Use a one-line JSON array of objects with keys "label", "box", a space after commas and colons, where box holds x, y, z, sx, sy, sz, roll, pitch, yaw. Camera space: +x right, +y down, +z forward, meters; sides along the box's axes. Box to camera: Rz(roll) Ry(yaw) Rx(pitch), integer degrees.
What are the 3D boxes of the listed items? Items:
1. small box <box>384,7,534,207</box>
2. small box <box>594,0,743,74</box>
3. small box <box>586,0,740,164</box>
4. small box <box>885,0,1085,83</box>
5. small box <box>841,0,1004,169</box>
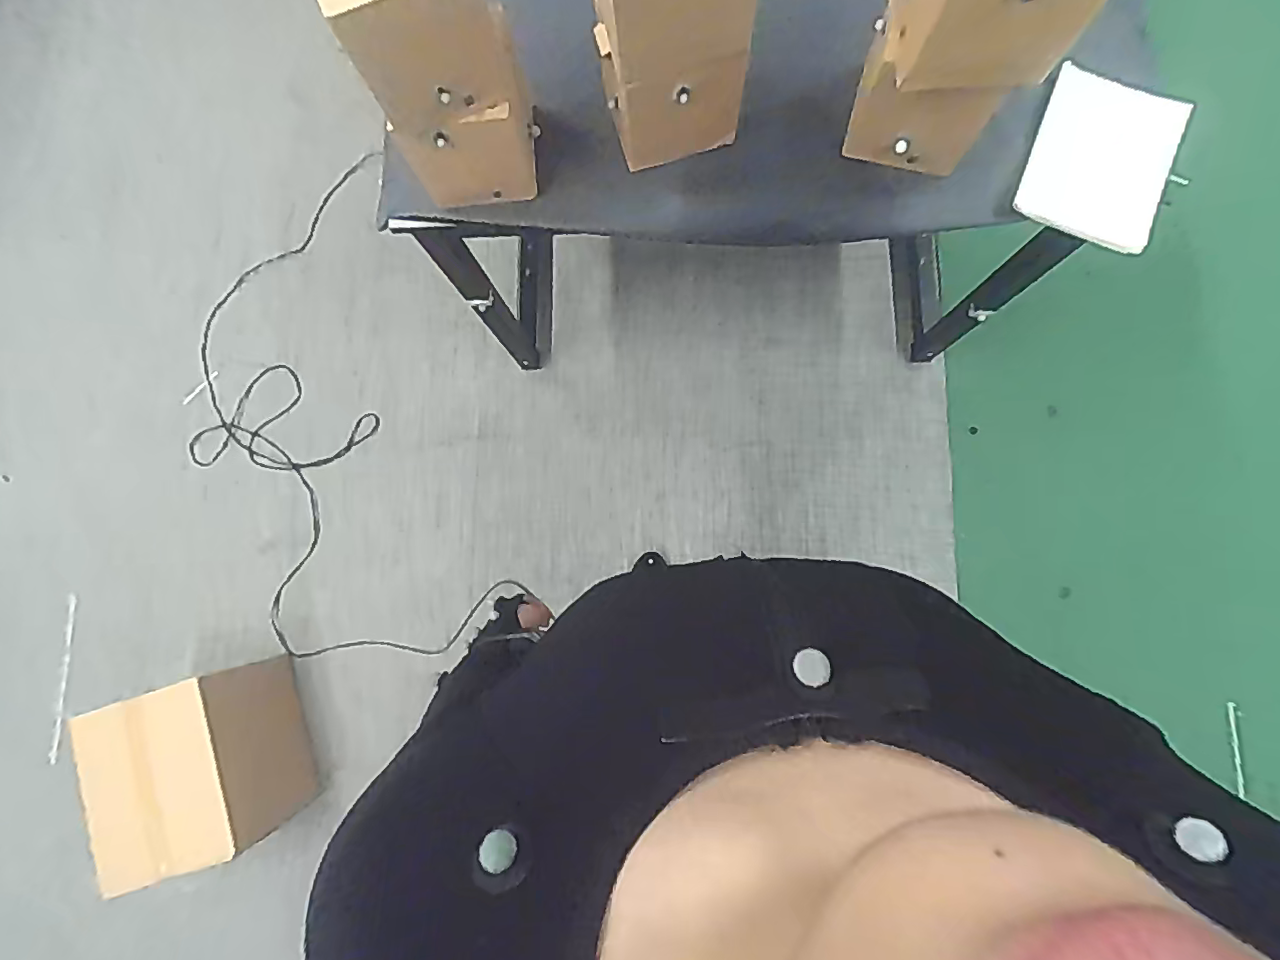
[{"label": "small box", "box": [-0.262, -0.545, 0.809, 0.168, 0.176, 0.179, -5, 82, 2]}, {"label": "small box", "box": [0.024, -0.630, 0.638, 0.179, 0.176, 0.168, -14, 82, 2]}, {"label": "small box", "box": [0.035, -0.611, 0.802, 0.179, 0.176, 0.168, -17, 82, 1]}, {"label": "small box", "box": [0.397, -0.590, 0.607, 0.179, 0.176, 0.168, -2, 81, 5]}, {"label": "small box", "box": [0.405, -0.591, 0.772, 0.168, 0.176, 0.179, 15, 83, 6]}]
